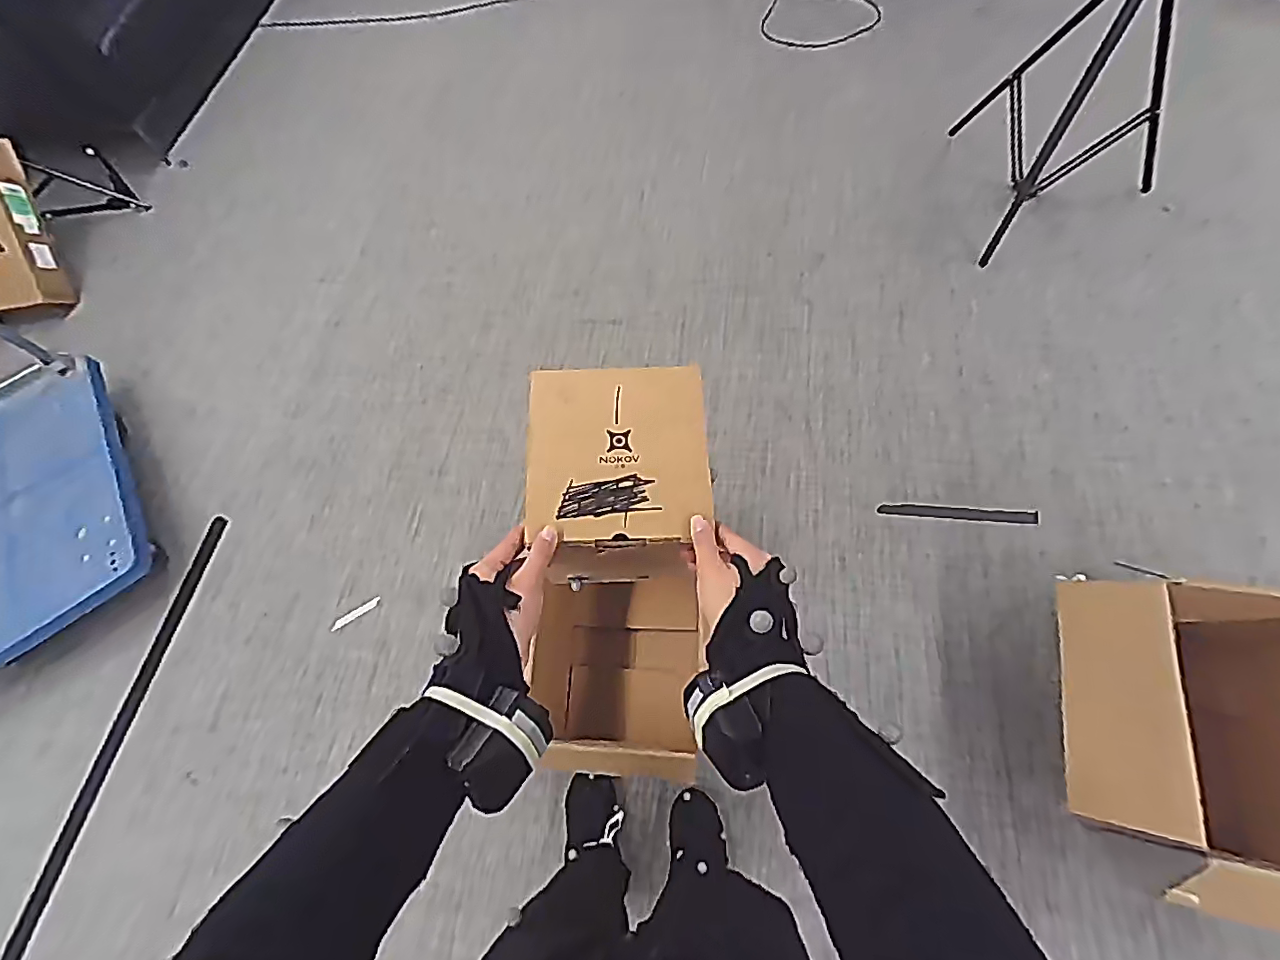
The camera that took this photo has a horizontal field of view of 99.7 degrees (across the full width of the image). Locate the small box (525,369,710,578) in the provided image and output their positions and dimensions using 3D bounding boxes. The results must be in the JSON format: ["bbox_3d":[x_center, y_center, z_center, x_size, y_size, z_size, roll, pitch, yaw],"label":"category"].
[{"bbox_3d":[-0.022,0.004,0.573,0.168,0.176,0.179,-2,67,-2],"label":"small box"}]
